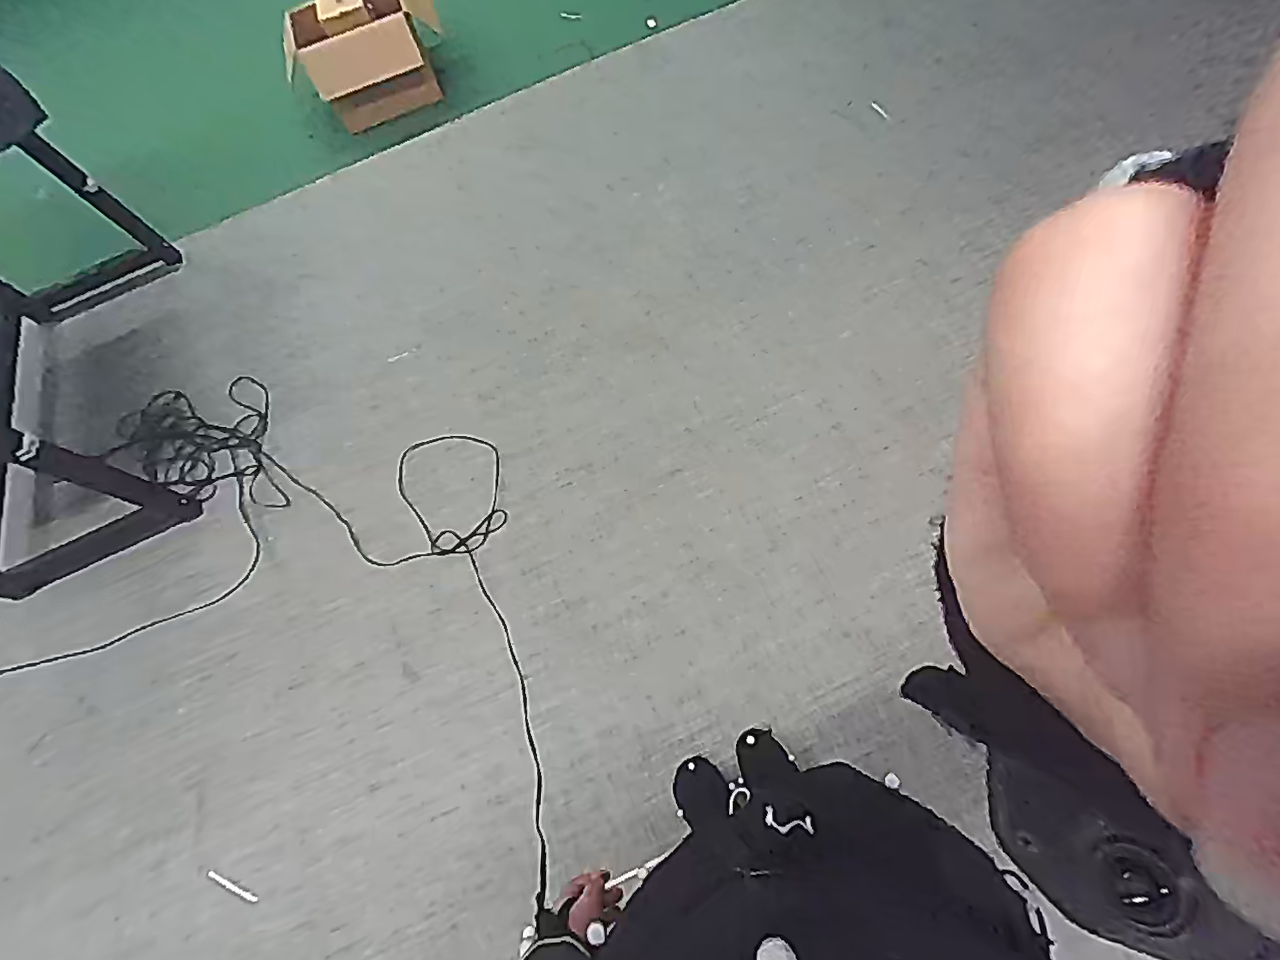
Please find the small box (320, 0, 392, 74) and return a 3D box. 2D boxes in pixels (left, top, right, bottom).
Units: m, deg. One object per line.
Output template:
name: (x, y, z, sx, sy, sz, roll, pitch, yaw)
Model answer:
small box: (-1.042, -1.645, 1.990, 0.168, 0.176, 0.179, -21, 65, -1)
